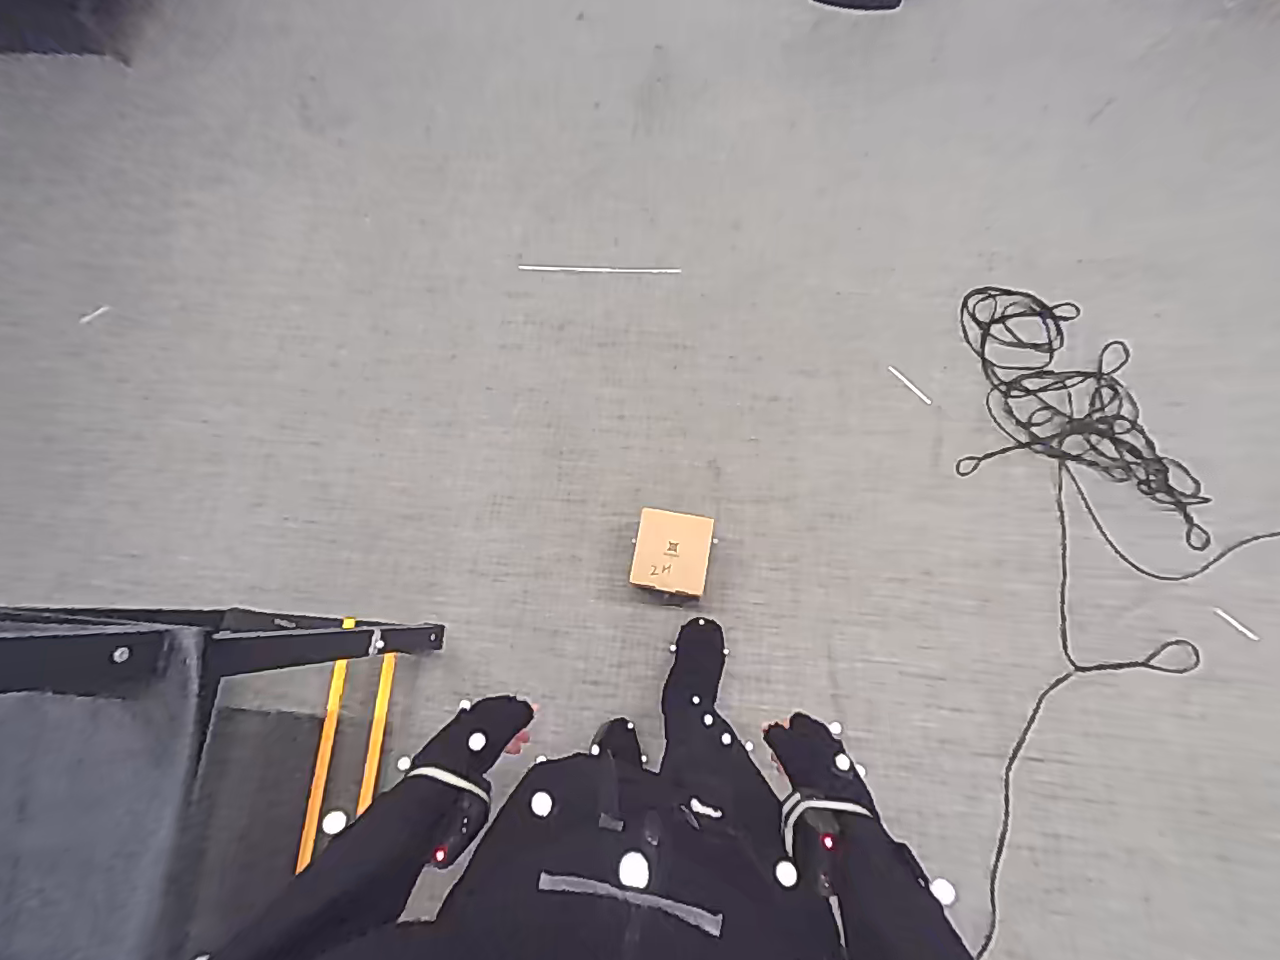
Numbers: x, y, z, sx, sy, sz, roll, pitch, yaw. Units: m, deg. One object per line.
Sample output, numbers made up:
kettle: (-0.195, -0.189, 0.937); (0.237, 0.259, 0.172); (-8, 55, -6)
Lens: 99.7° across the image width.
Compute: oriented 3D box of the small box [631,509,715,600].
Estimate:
small box: (0.080, 0.181, 1.282); (0.168, 0.176, 0.179); (9, 77, 7)
